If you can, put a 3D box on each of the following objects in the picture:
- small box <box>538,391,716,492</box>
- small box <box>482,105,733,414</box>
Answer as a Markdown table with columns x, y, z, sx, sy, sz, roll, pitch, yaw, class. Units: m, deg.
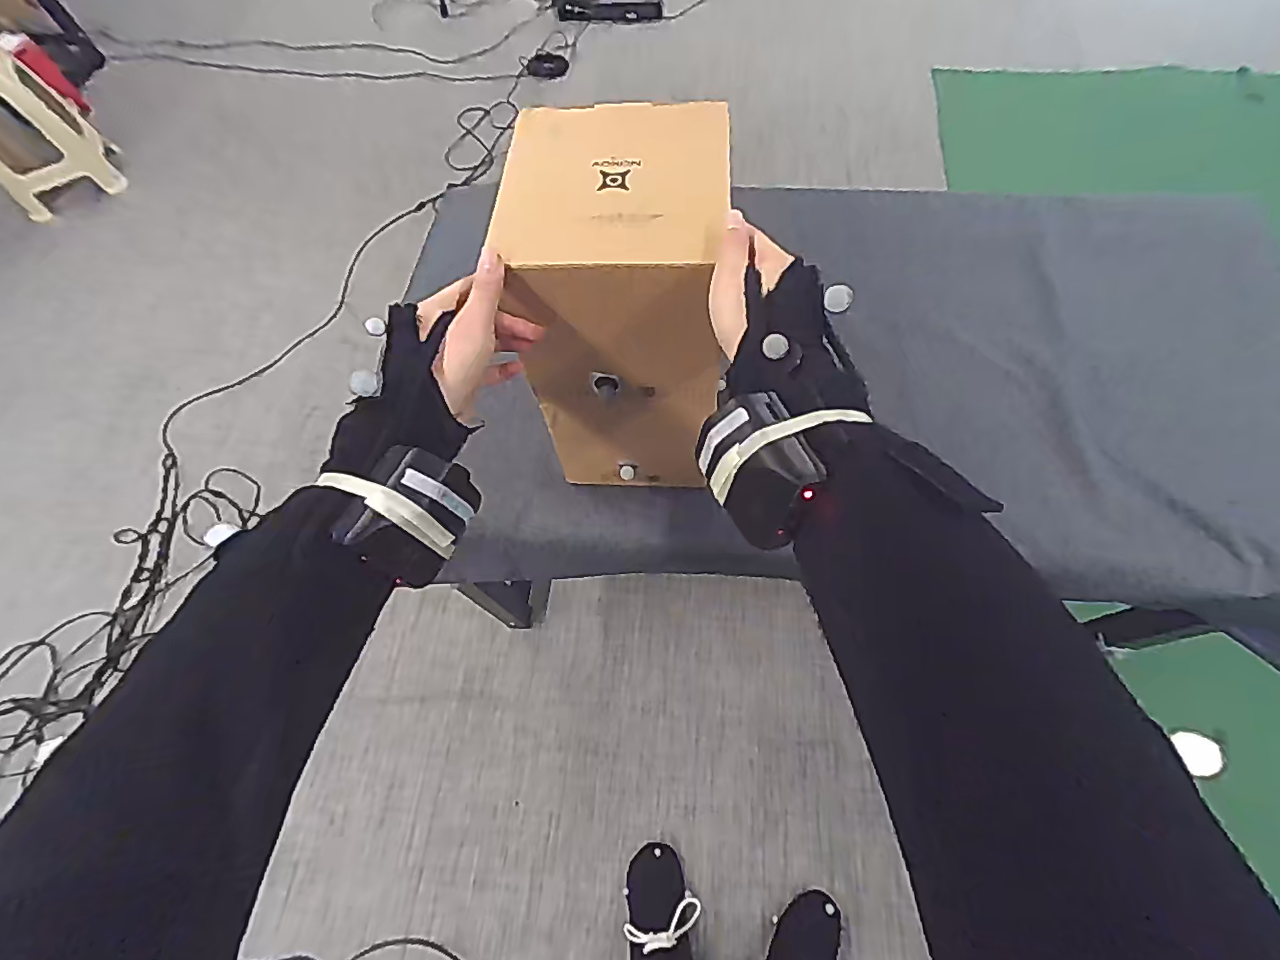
| x | y | z | sx | sy | sz | roll | pitch | yaw | class |
| --- | --- | --- | --- | --- | --- | --- | --- | --- | --- |
| -0.005 | -0.103 | 0.599 | 0.168 | 0.176 | 0.179 | 1 | 64 | 4 | small box |
| -0.014 | -0.175 | 0.453 | 0.168 | 0.176 | 0.179 | 0 | 64 | 5 | small box |
